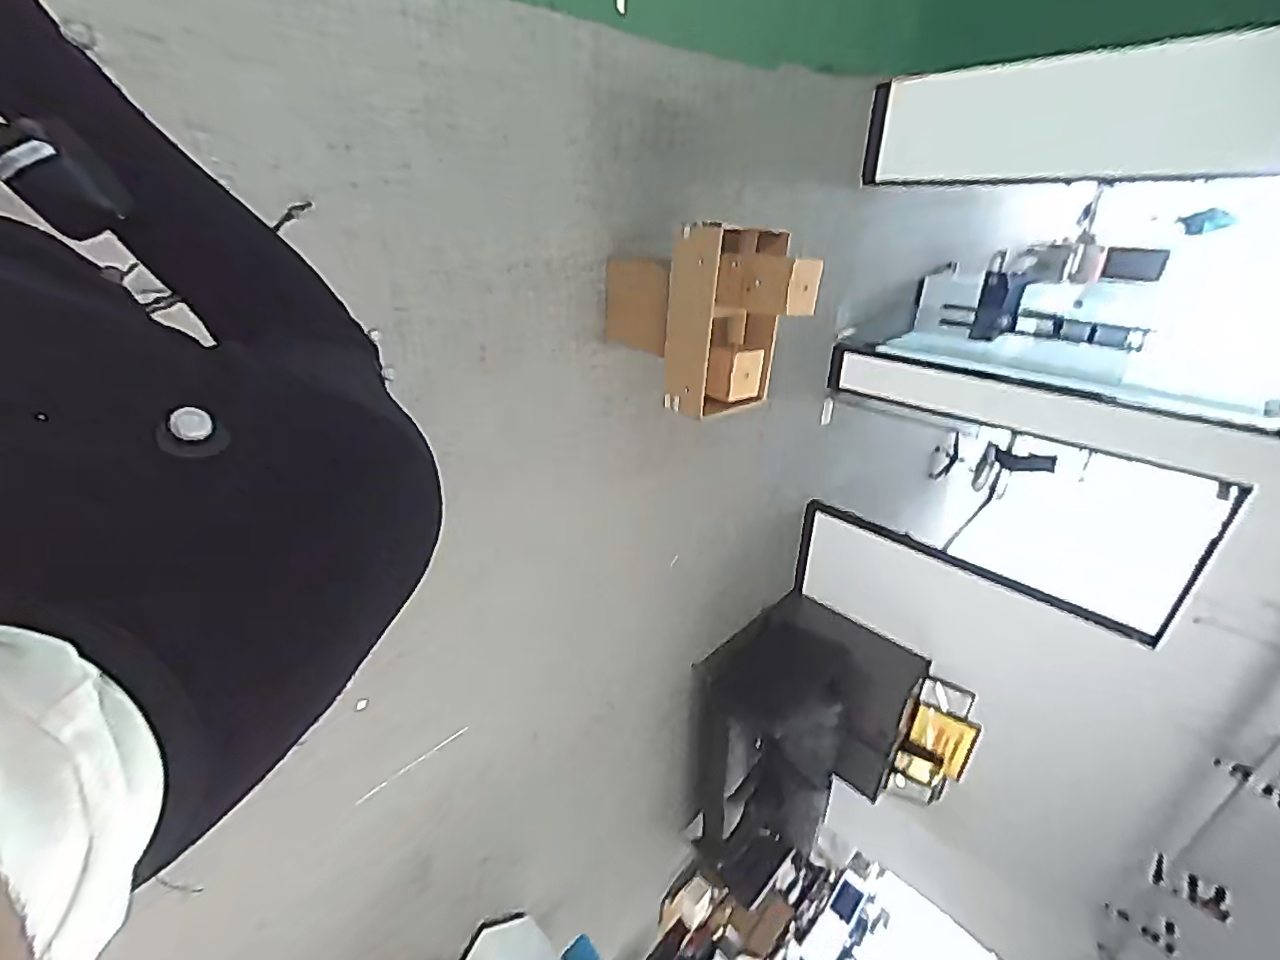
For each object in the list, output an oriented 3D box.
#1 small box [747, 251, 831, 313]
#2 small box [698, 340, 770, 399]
[{"bbox_3d":[0.463,-0.621,1.691,0.179,0.176,0.168,-16,121,-41],"label":"small box"},{"bbox_3d":[0.335,-0.401,1.931,0.179,0.176,0.168,-18,123,-39],"label":"small box"}]
